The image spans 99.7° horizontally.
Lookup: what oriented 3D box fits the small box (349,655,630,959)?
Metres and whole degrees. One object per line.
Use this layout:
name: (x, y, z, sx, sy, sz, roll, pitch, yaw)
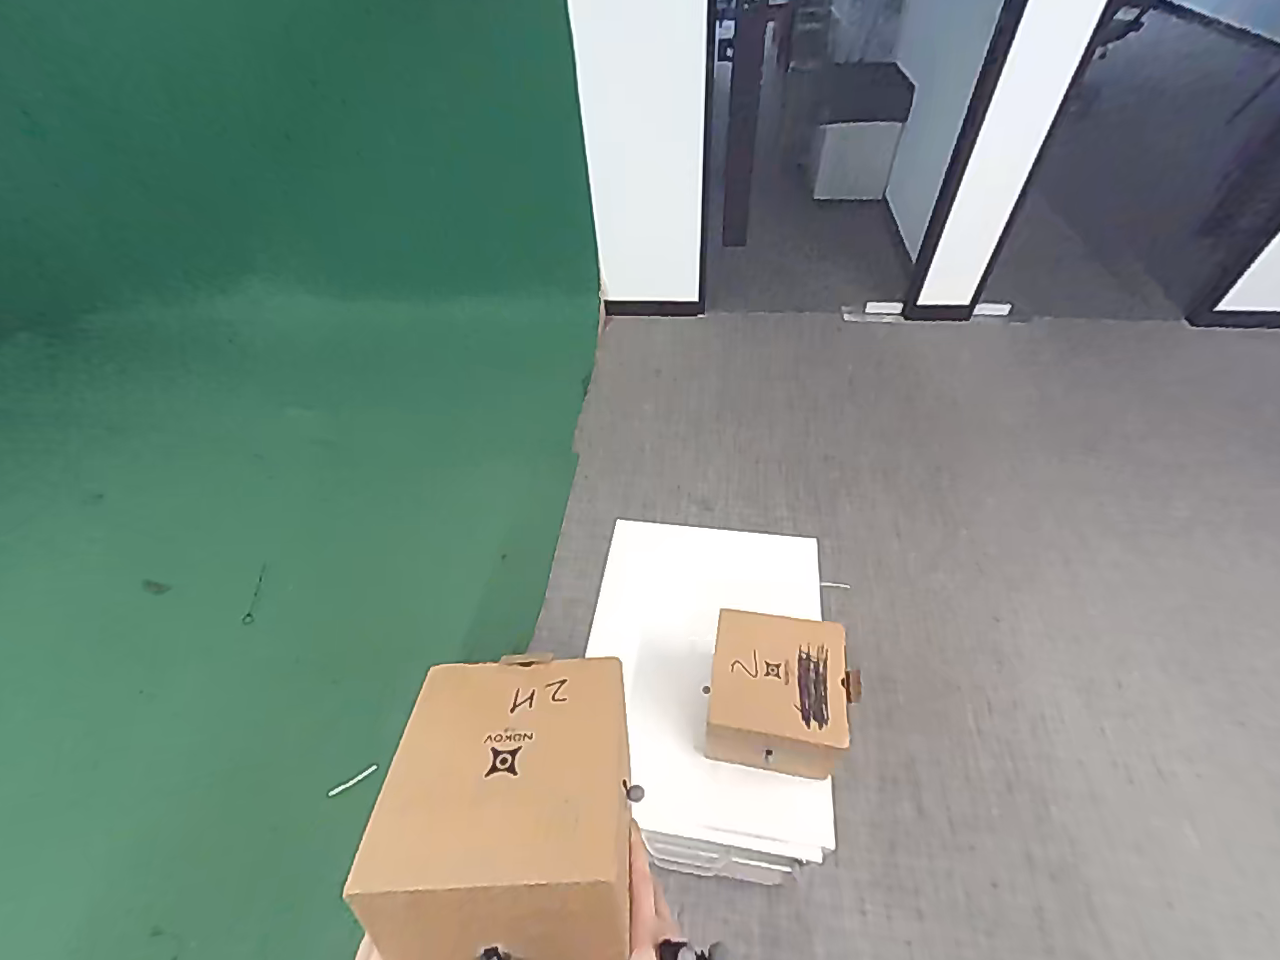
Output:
small box: (-0.093, 0.268, 0.436, 0.168, 0.176, 0.179, -2, 28, 0)
